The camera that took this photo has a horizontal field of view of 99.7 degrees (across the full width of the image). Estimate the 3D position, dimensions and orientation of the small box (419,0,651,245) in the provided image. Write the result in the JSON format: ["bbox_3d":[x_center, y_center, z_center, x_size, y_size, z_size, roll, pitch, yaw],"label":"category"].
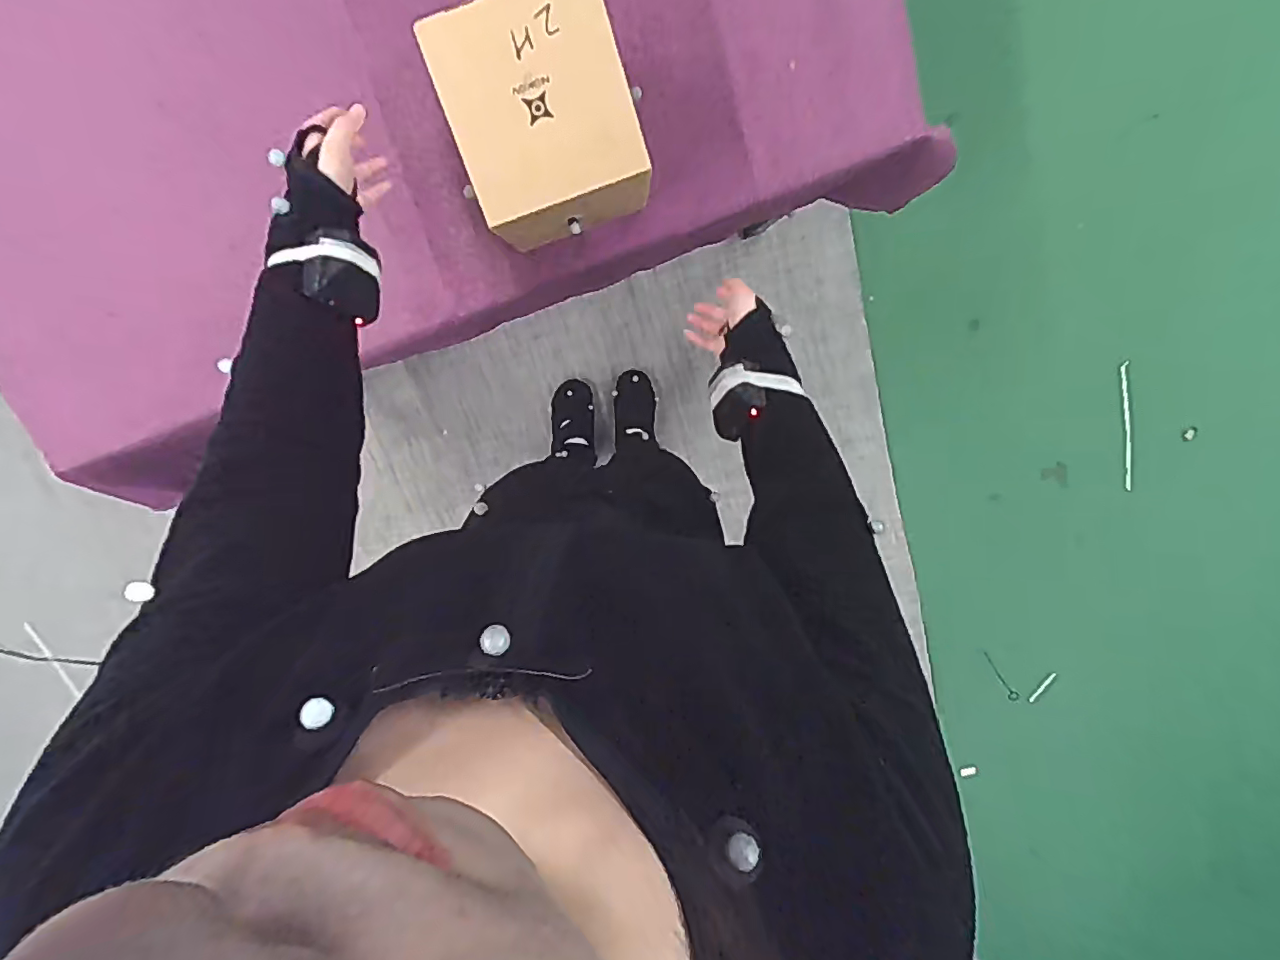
[{"bbox_3d":[-0.093,-0.360,0.565,0.168,0.176,0.179,-18,105,3],"label":"small box"}]
